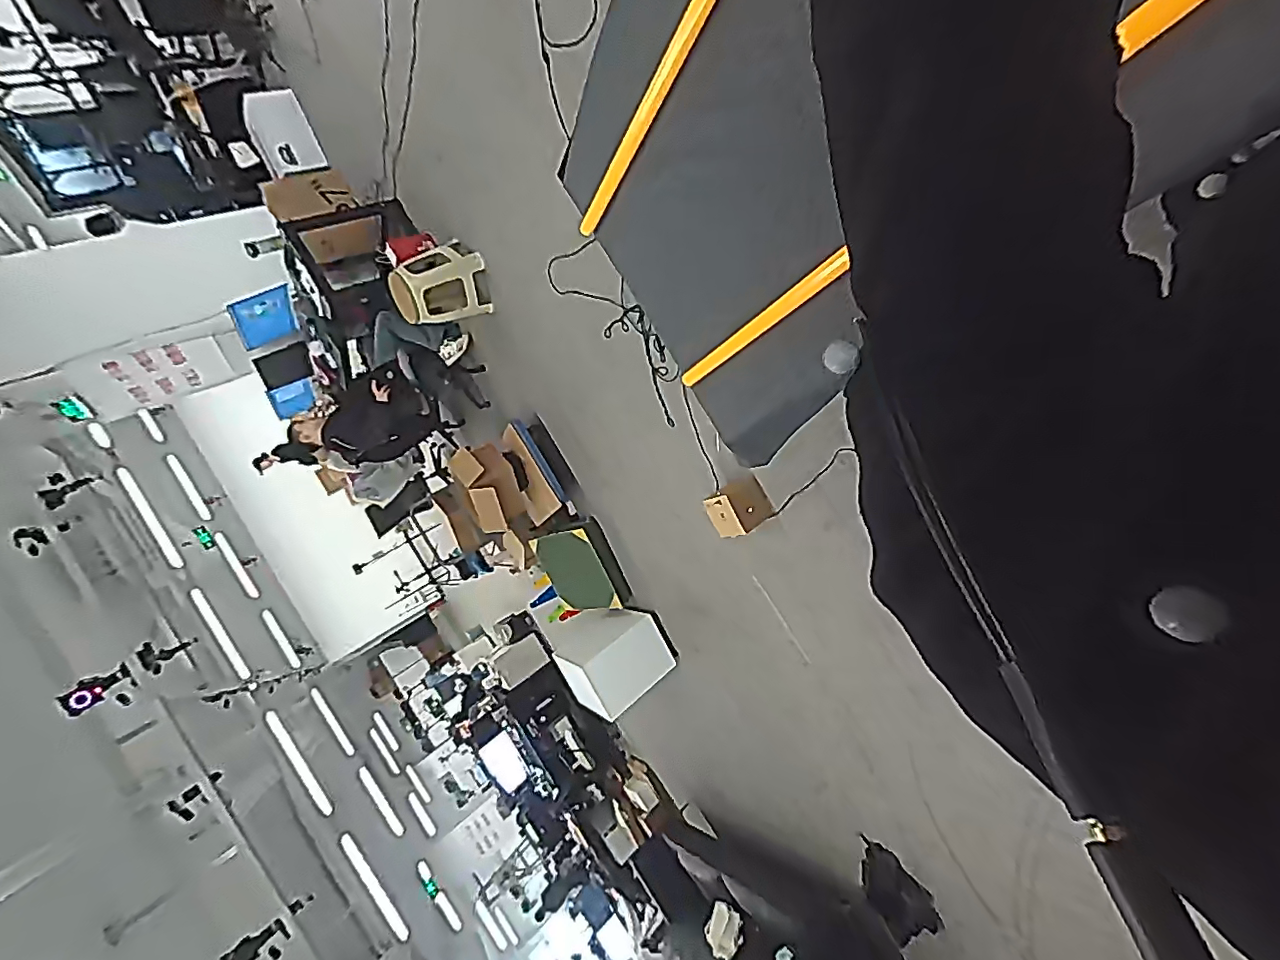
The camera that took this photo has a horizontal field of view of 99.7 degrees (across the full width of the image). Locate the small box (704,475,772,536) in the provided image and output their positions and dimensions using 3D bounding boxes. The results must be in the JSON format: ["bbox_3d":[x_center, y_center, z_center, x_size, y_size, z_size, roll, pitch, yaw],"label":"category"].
[{"bbox_3d":[0.395,0.103,2.162,0.179,0.176,0.168,61,151,-4],"label":"small box"}]
